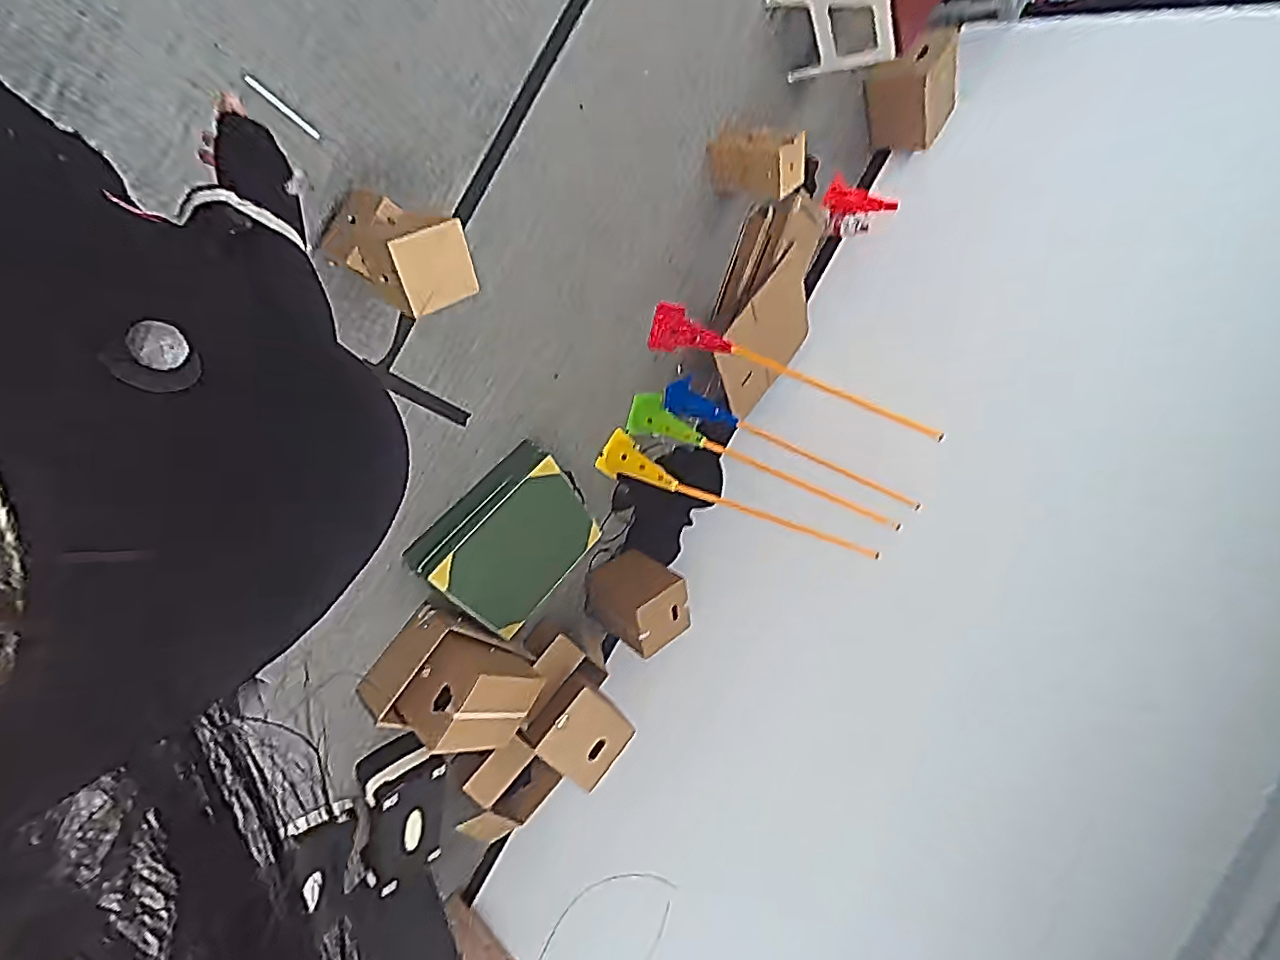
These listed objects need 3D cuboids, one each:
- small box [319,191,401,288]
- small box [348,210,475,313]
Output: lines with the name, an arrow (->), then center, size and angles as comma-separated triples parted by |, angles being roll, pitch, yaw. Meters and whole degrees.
small box -> -0.643, -0.569, 1.315 | 0.179, 0.176, 0.168 | -60, 147, -2
small box -> -0.515, -0.498, 1.234 | 0.179, 0.176, 0.168 | -39, 142, -31
